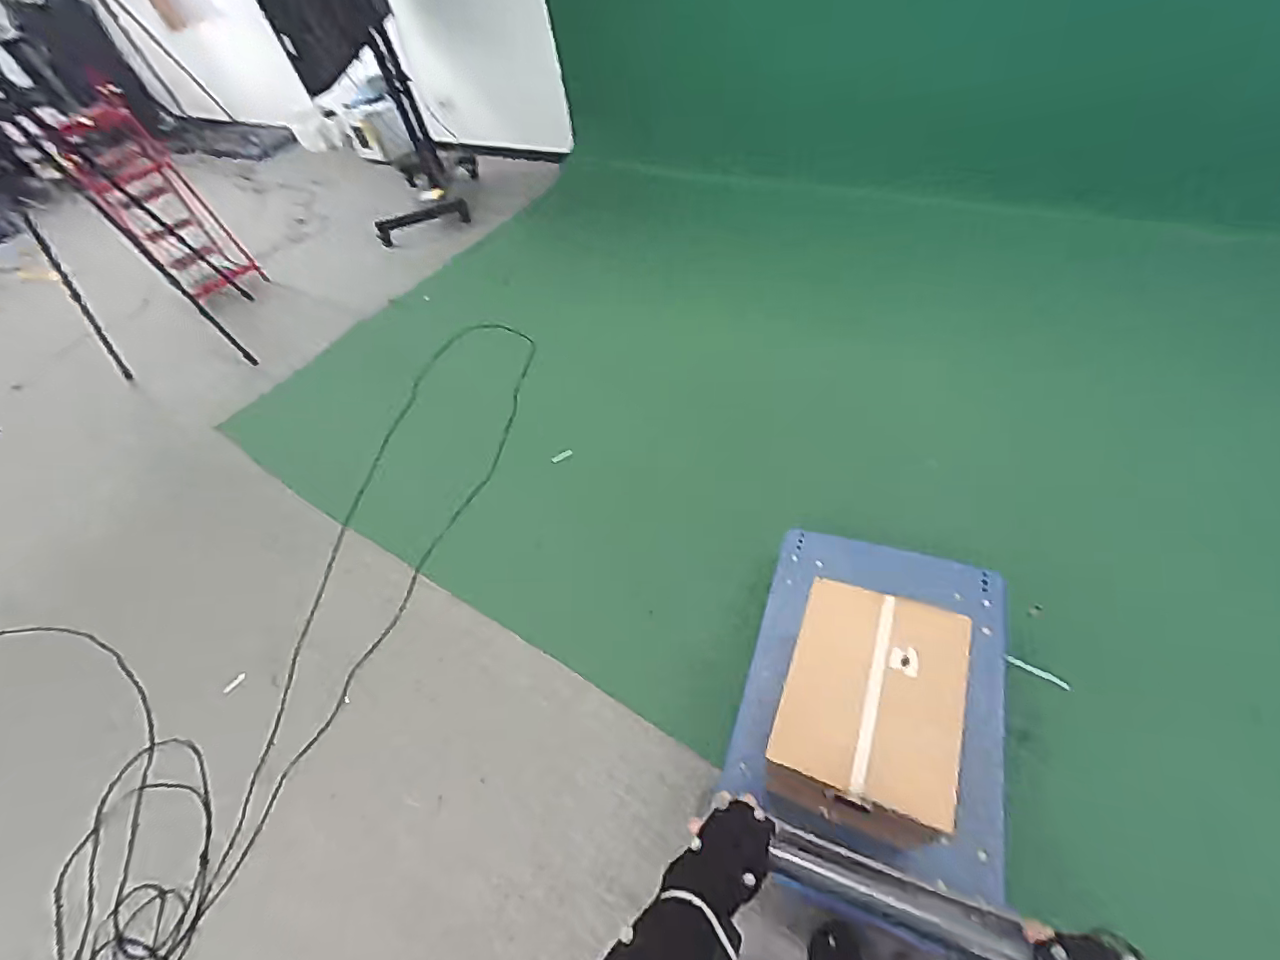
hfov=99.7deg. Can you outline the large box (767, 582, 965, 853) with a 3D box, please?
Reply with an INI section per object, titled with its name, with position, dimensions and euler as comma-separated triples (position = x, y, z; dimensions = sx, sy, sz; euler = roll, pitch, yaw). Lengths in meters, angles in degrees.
[large box]
position = 0.474, 0.500, 1.162
dimensions = 0.320, 0.320, 0.408
euler = 14, 55, 22
